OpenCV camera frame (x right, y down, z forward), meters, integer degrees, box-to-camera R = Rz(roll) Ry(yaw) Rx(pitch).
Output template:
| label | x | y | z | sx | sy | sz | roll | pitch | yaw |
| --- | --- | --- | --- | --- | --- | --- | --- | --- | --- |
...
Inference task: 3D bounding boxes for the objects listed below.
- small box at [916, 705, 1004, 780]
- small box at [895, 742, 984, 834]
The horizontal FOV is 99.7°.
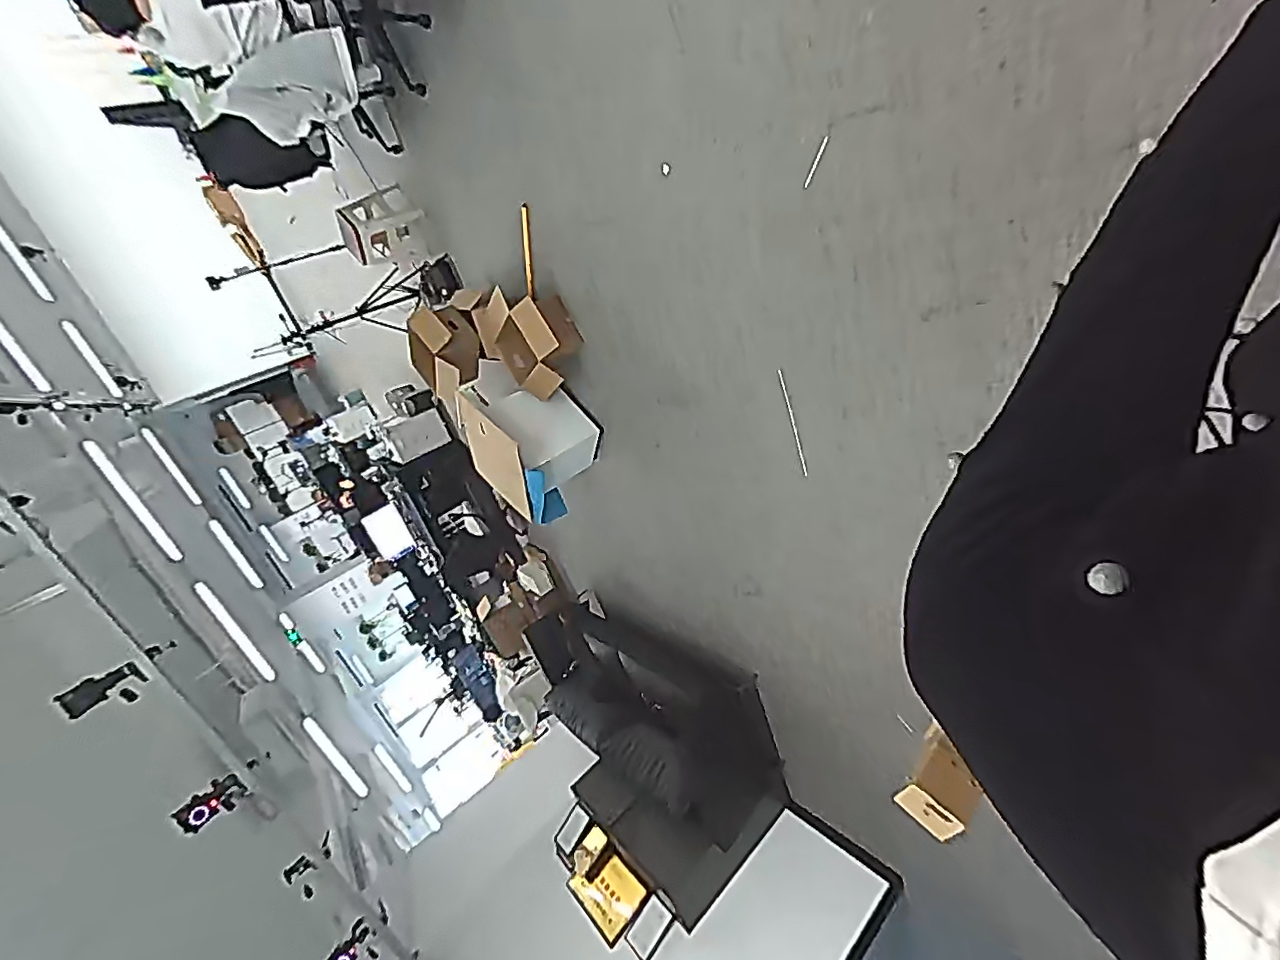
| label | x | y | z | sx | sy | sz | roll | pitch | yaw |
| --- | --- | --- | --- | --- | --- | --- | --- | --- | --- |
| small box | 1.061 | 0.888 | 1.790 | 0.168 | 0.176 | 0.179 | 37 | 144 | 29 |
| small box | 0.945 | 0.963 | 1.702 | 0.168 | 0.176 | 0.179 | 37 | 145 | 29 |
